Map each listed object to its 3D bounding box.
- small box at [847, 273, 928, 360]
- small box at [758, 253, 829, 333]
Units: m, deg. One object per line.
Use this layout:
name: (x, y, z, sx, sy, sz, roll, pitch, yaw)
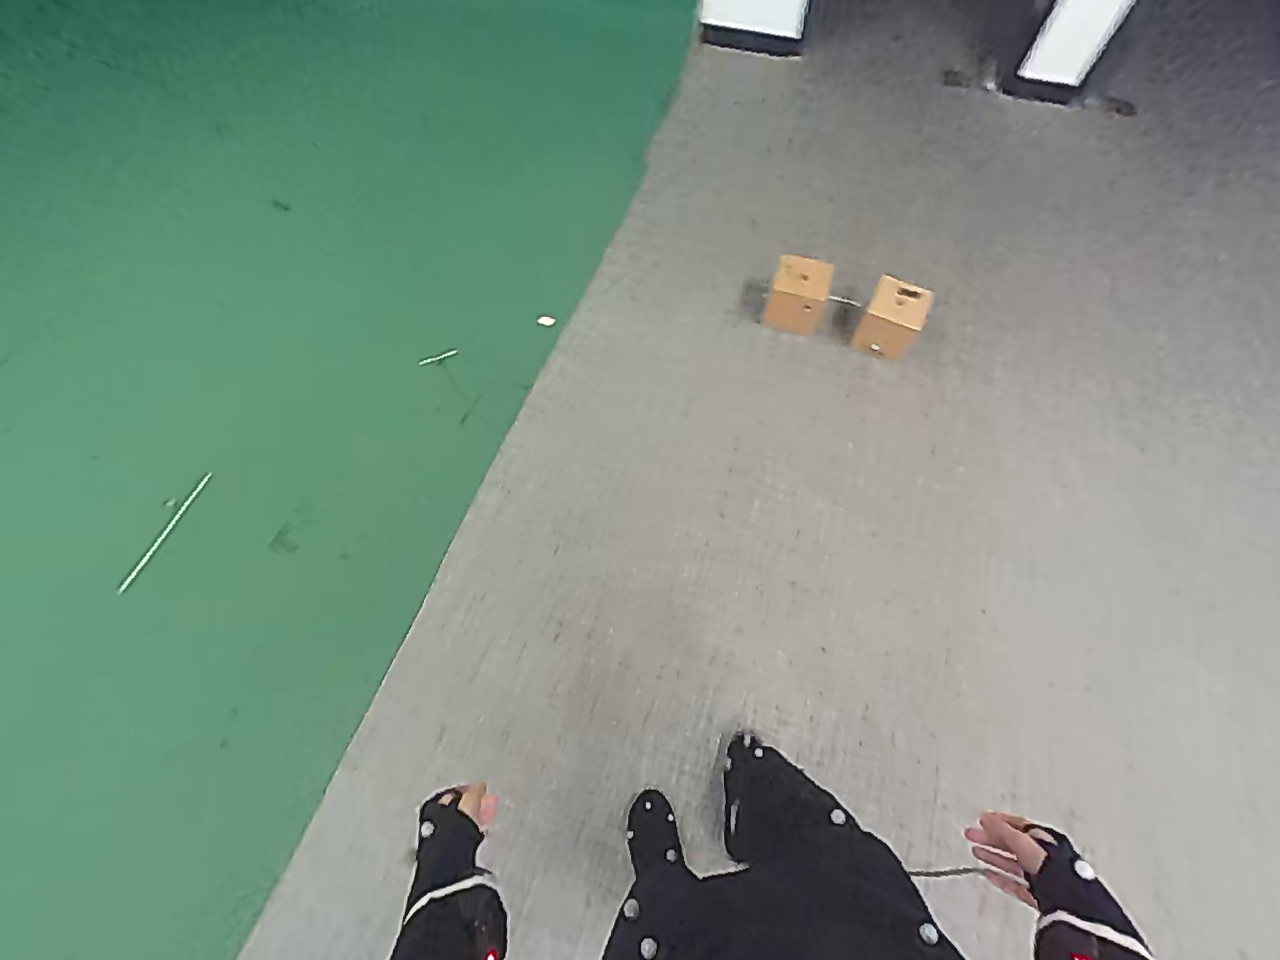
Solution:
small box: (0.795, -0.526, 1.751, 0.168, 0.176, 0.179, 25, 68, 12)
small box: (0.507, -0.616, 1.796, 0.179, 0.176, 0.168, 15, 65, 9)
